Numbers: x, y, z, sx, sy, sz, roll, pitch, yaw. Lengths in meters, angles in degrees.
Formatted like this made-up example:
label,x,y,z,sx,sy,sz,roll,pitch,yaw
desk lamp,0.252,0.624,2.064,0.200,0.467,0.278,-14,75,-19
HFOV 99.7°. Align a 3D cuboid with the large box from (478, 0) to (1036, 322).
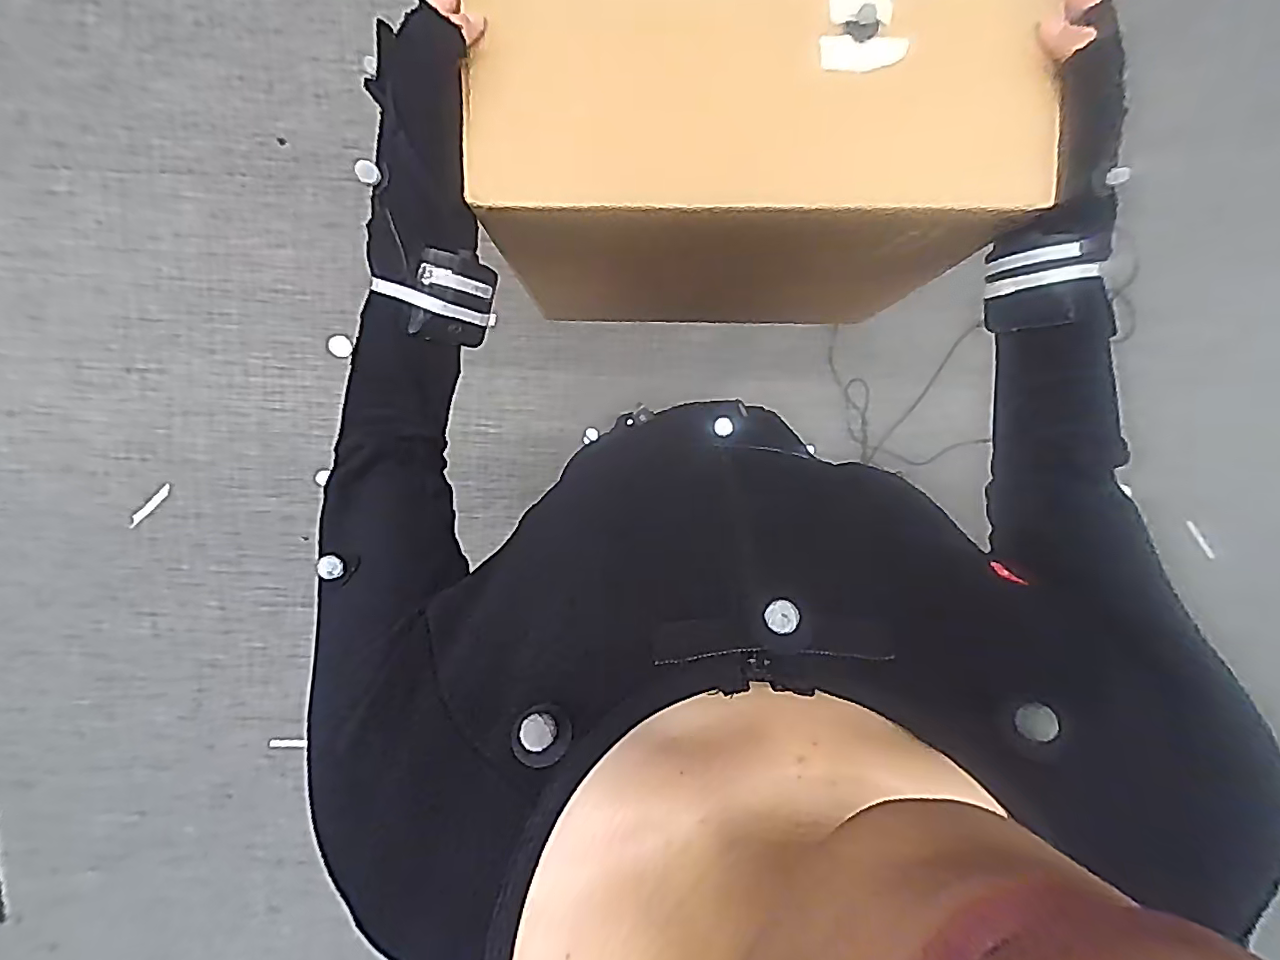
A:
label,x,y,z,sx,sy,sz,roll,pitch,yaw
large box,0.080,-0.353,0.533,0.408,0.320,0.320,0,92,0
